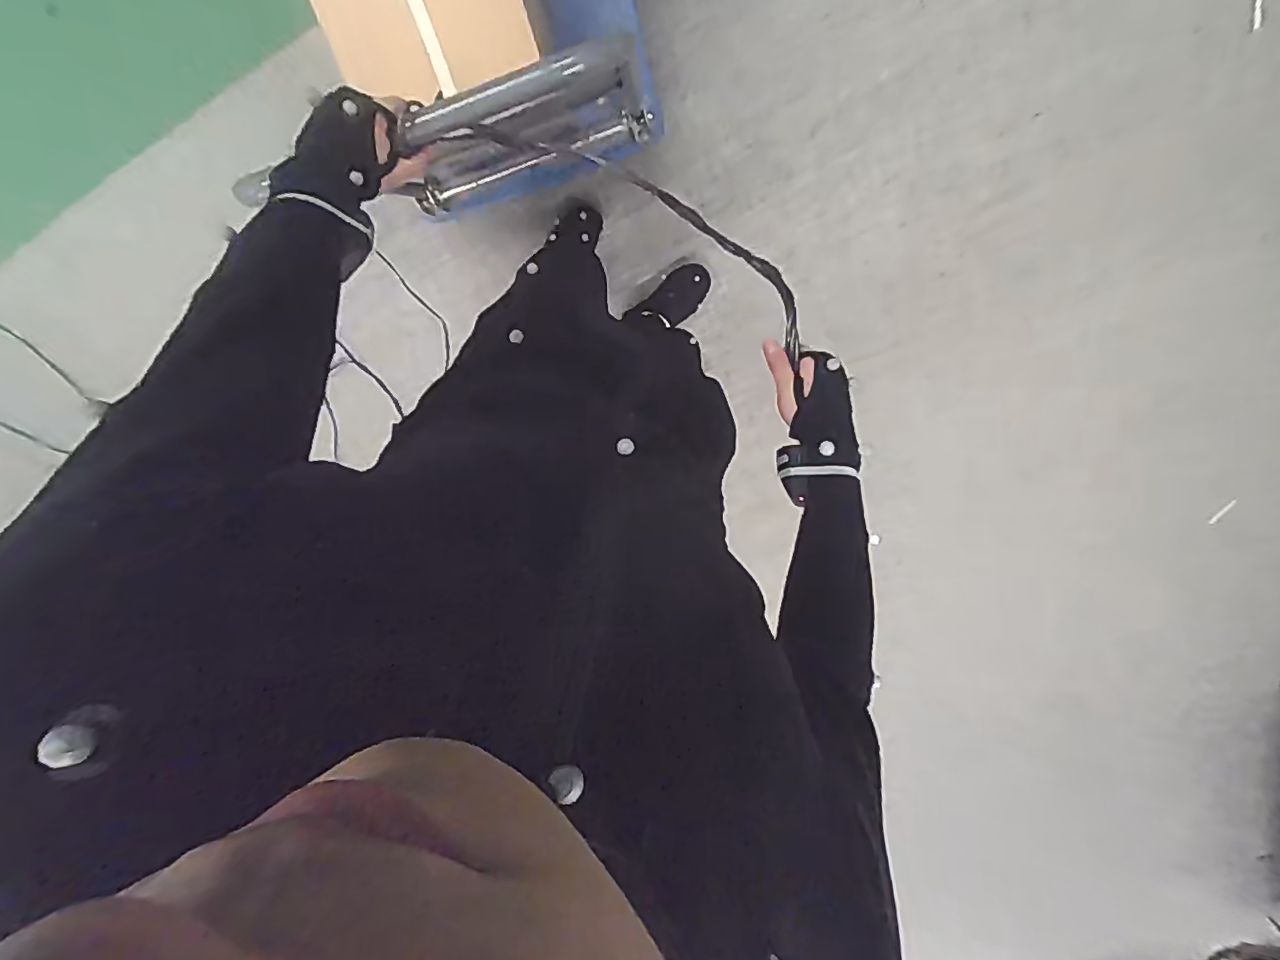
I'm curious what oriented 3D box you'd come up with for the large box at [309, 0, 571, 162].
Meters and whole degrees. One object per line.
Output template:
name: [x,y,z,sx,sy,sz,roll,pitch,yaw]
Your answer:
large box: [-0.344,-0.818,0.928,0.320,0.320,0.408,-14,118,8]
